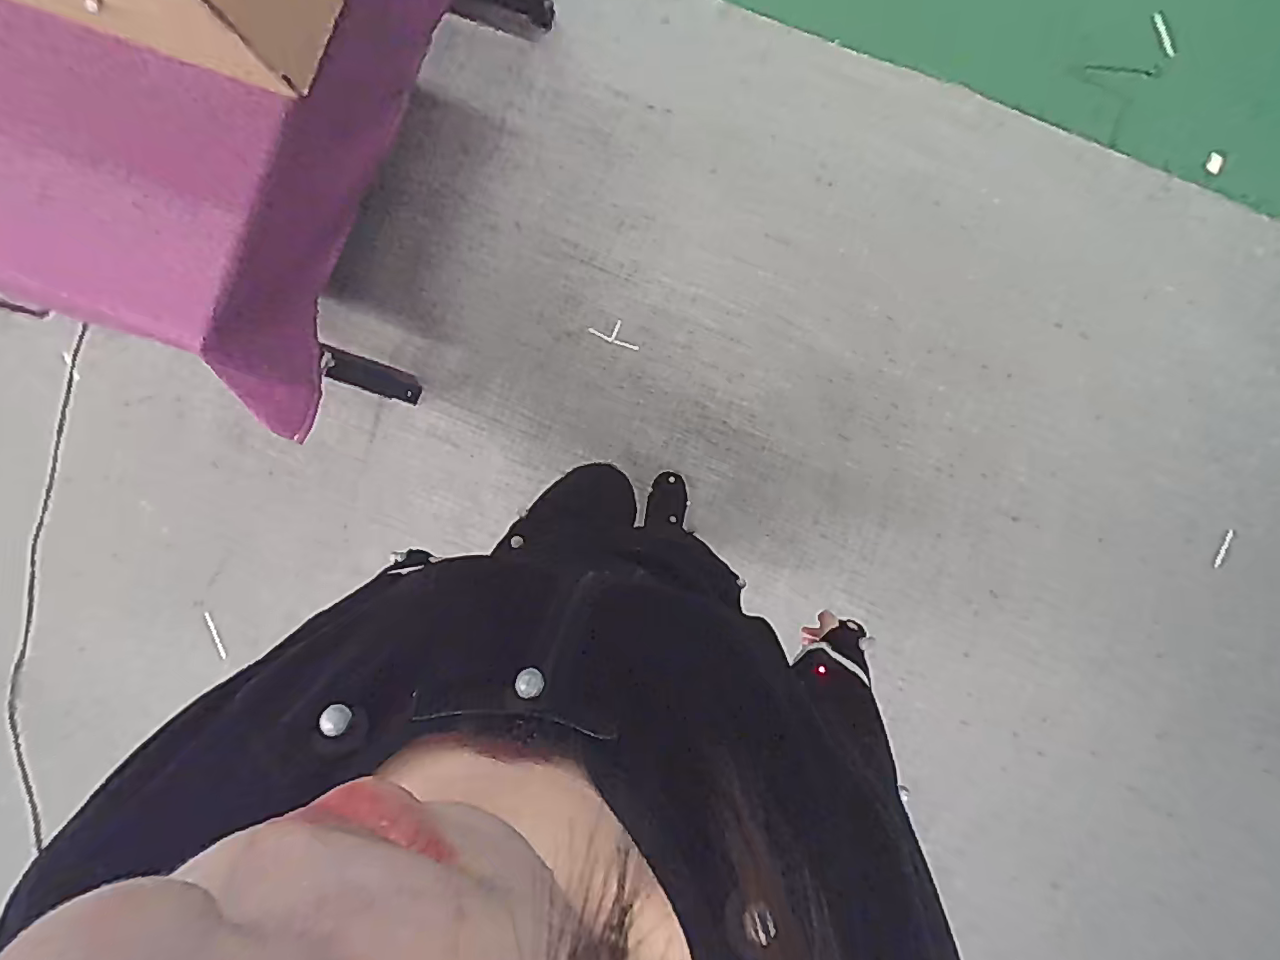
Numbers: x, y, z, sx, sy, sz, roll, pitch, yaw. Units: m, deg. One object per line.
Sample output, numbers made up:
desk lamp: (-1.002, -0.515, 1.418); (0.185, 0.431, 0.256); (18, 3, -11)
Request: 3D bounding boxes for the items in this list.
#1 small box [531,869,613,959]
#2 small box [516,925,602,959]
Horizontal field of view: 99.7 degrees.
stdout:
small box: (-0.168, 1.066, 1.262); (0.168, 0.176, 0.179); (20, 91, 3)
small box: (-0.190, 1.065, 1.100); (0.179, 0.176, 0.168); (20, 90, 2)
